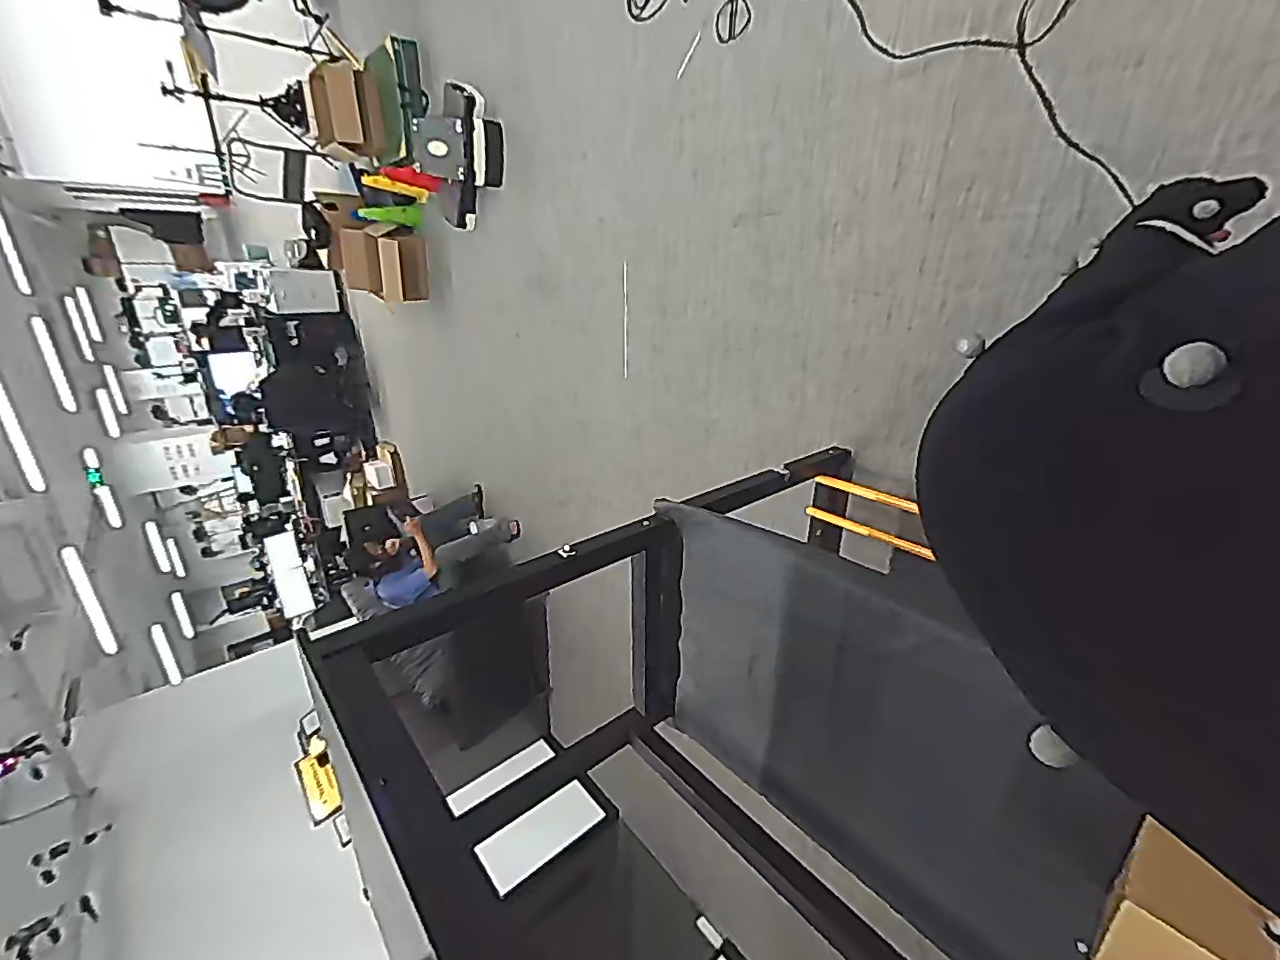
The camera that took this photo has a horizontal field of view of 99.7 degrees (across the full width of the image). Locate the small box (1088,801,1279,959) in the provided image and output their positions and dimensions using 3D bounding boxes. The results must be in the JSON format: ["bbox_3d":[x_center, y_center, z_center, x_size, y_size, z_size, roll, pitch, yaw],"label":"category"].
[{"bbox_3d":[0.618,0.500,0.583,0.168,0.176,0.179,22,122,46],"label":"small box"}]
